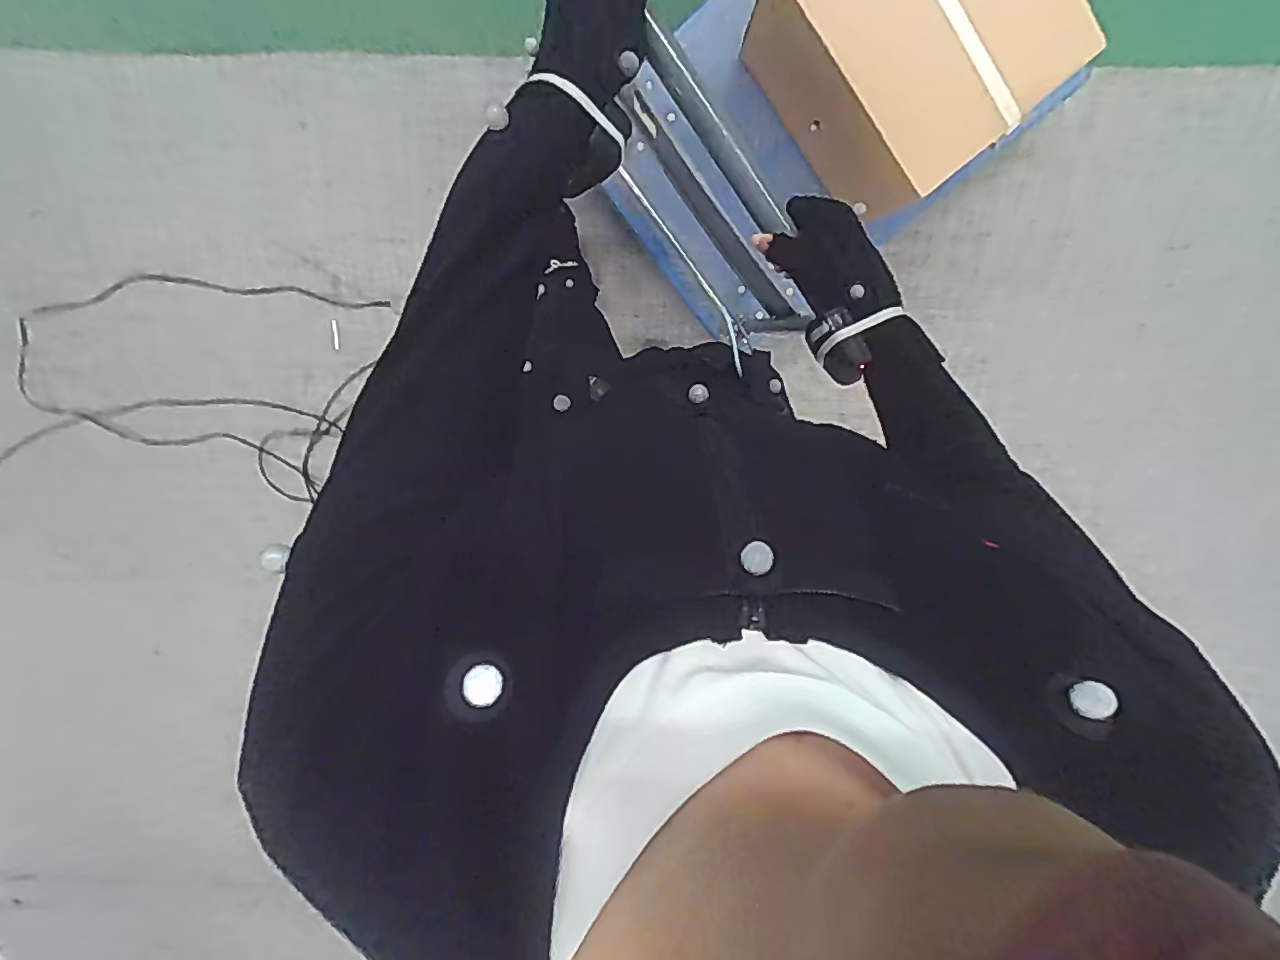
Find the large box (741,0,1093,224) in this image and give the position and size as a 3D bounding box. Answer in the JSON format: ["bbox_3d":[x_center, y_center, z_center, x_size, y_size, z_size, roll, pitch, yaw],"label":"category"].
[{"bbox_3d":[0.431,-0.728,0.929,0.320,0.320,0.408,-39,102,11],"label":"large box"}]
